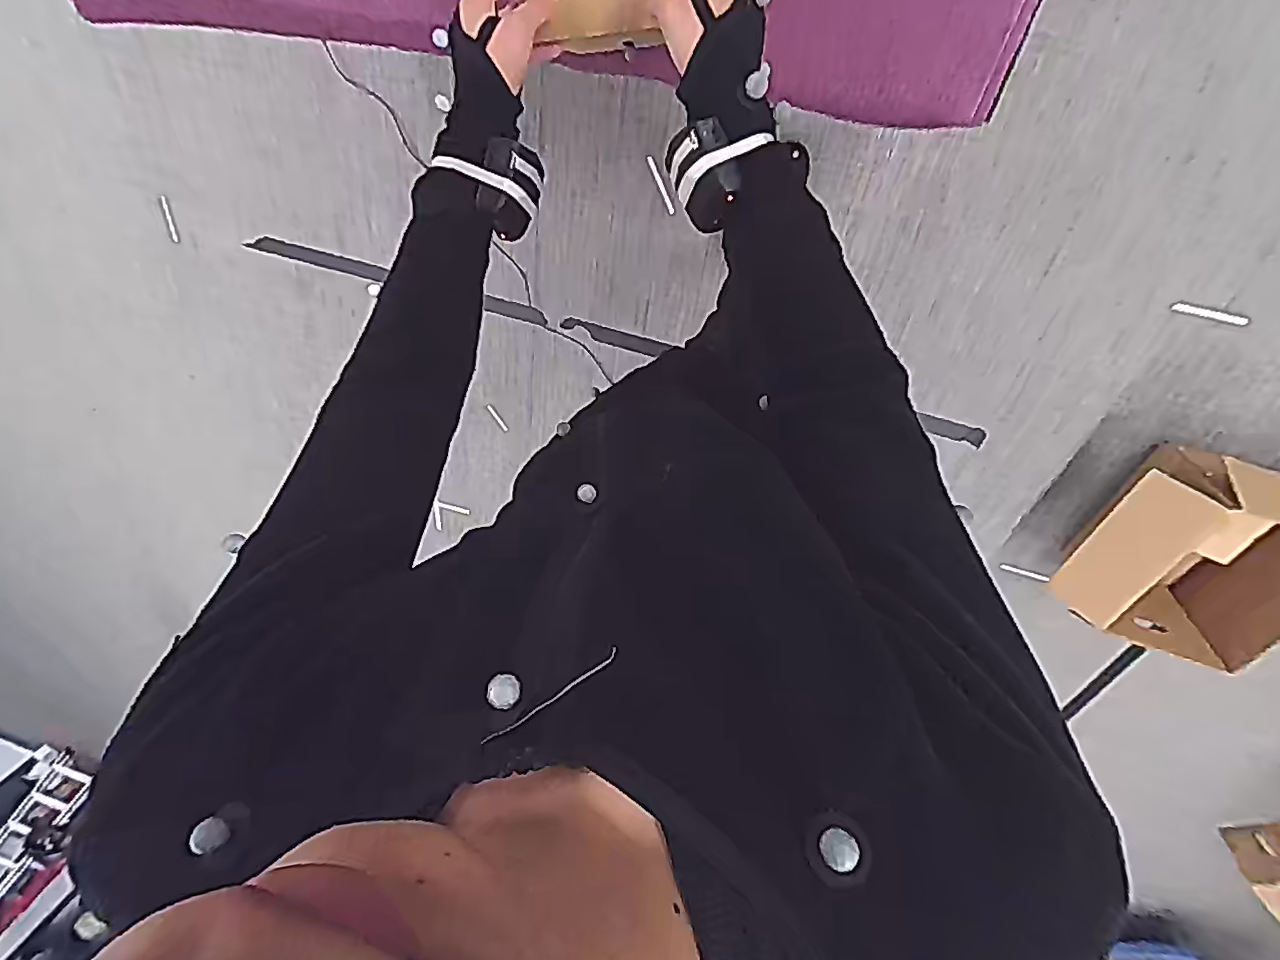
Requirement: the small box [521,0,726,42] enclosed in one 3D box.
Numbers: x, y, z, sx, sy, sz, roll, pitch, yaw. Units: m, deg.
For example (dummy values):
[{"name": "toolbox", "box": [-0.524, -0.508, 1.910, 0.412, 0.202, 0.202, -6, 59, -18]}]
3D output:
[{"name": "small box", "box": [-0.011, -0.503, 0.475, 0.168, 0.176, 0.179, 3, 126, 12]}]
